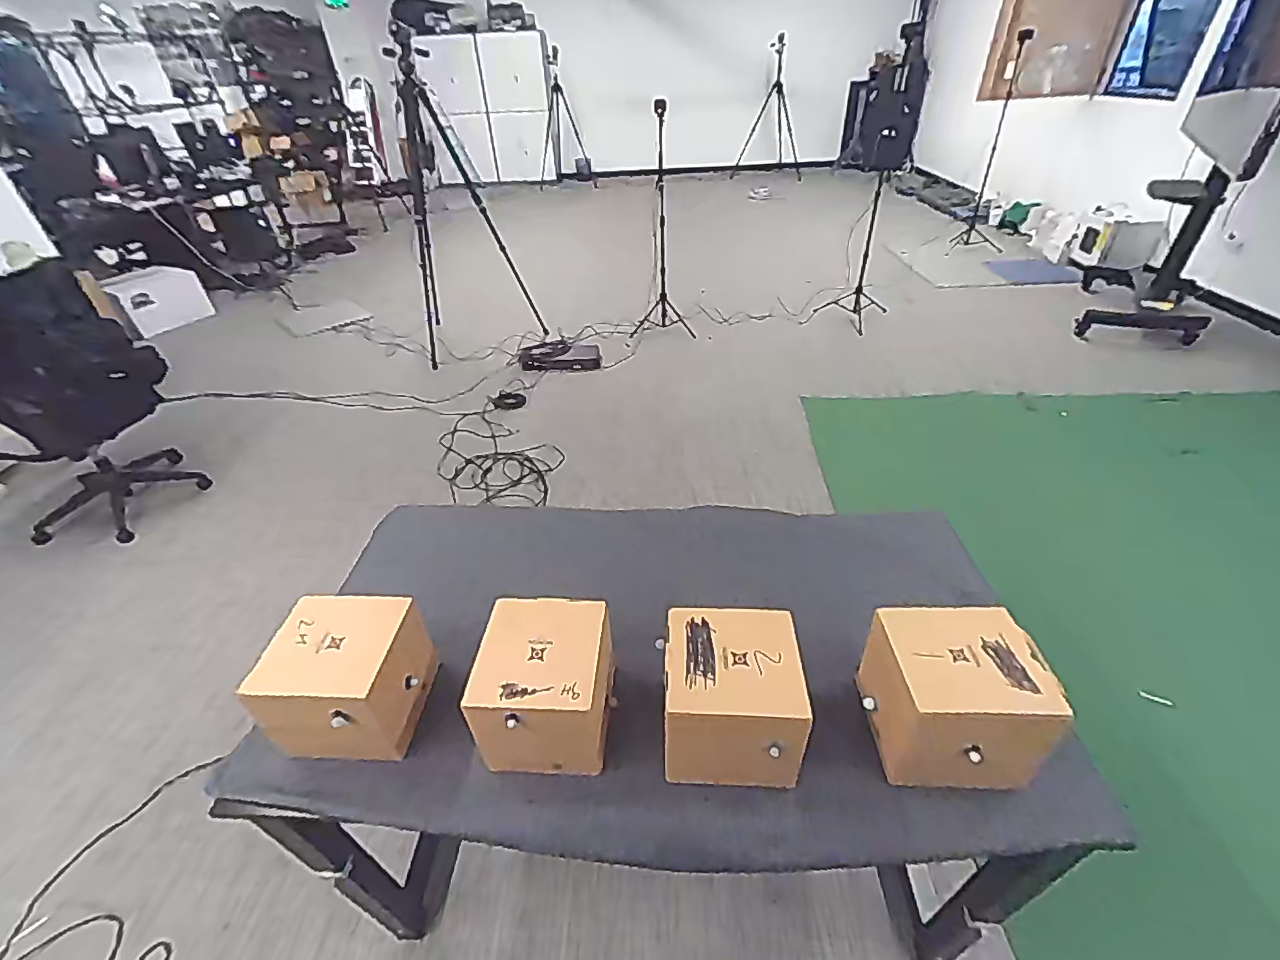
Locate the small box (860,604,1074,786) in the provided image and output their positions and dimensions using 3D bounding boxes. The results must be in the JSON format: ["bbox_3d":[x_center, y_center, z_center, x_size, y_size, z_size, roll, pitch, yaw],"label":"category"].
[{"bbox_3d":[0.416,0.287,0.726,0.179,0.176,0.168,-1,34,6],"label":"small box"}]
